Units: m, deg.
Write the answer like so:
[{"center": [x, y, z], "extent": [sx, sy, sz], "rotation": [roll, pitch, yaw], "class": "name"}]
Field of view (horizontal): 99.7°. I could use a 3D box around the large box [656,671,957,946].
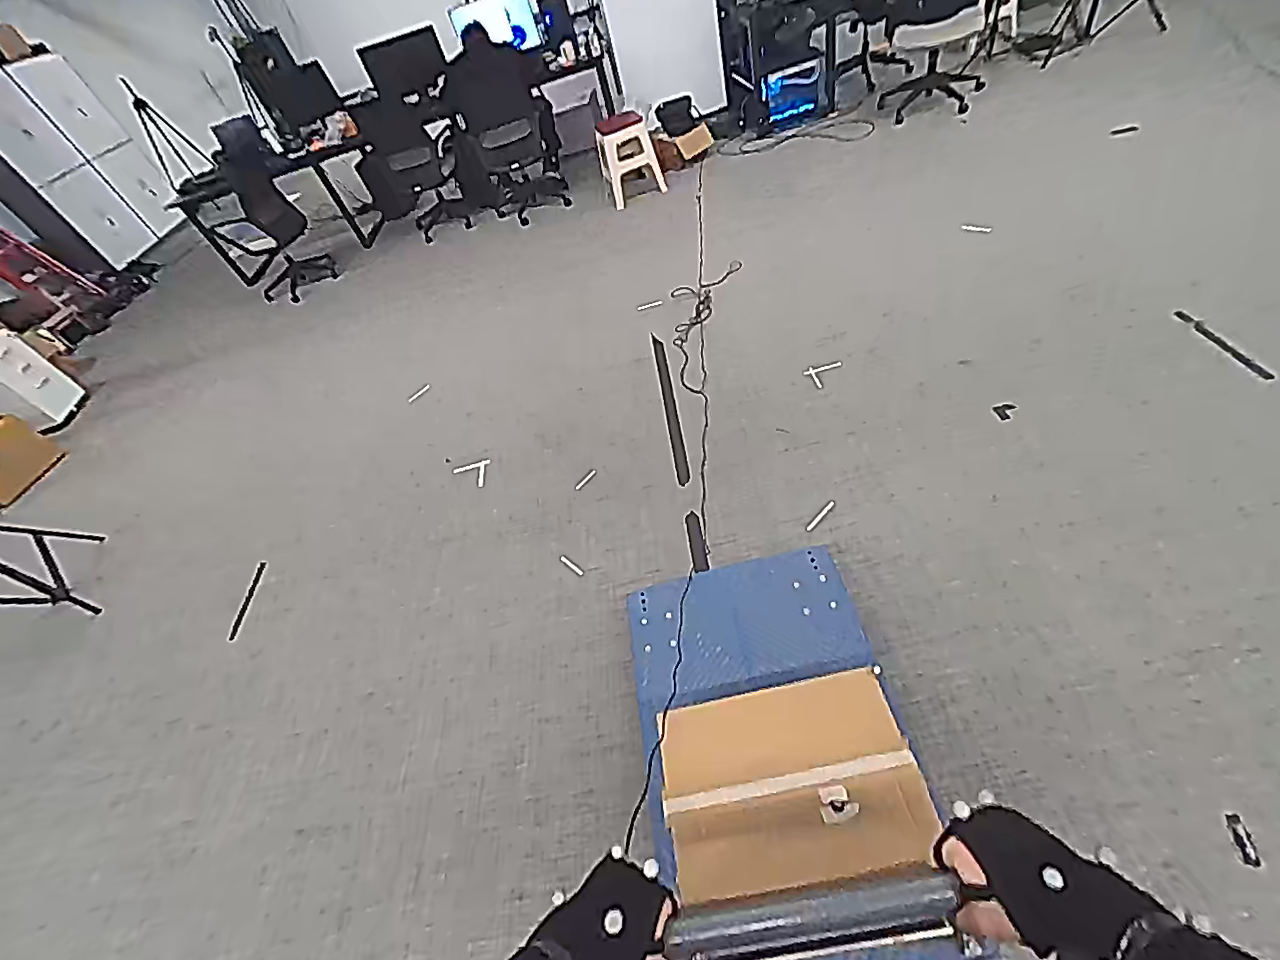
[{"center": [0.273, 0.599, 0.979], "extent": [0.408, 0.320, 0.320], "rotation": [-15, 45, 6], "class": "large box"}]
